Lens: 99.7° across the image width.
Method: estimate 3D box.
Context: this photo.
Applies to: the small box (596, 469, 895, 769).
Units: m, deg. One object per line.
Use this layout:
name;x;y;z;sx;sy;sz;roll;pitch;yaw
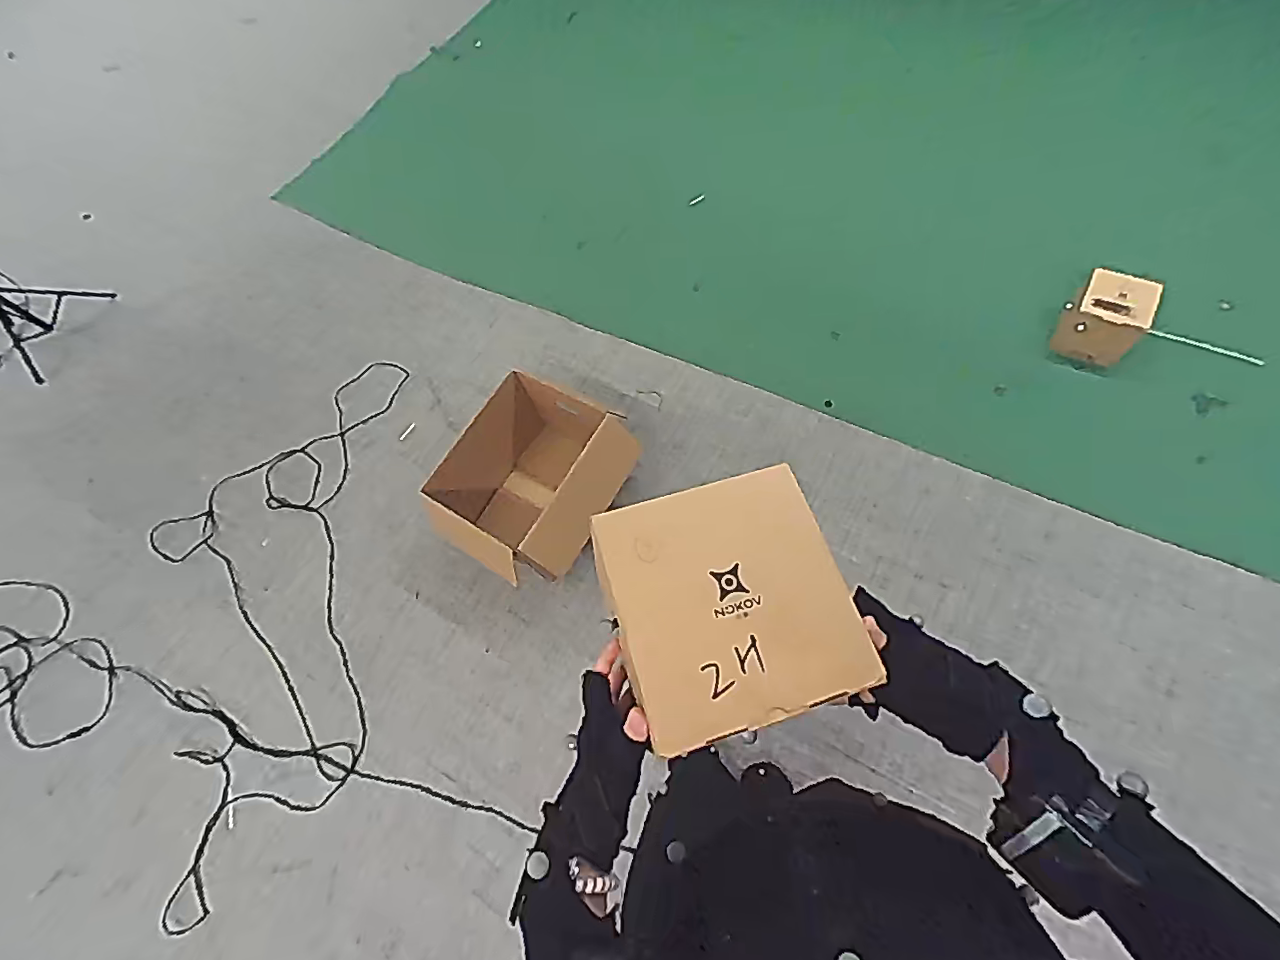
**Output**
small box;0.064;0.119;0.449;0.168;0.176;0.179;-15;67;-8
